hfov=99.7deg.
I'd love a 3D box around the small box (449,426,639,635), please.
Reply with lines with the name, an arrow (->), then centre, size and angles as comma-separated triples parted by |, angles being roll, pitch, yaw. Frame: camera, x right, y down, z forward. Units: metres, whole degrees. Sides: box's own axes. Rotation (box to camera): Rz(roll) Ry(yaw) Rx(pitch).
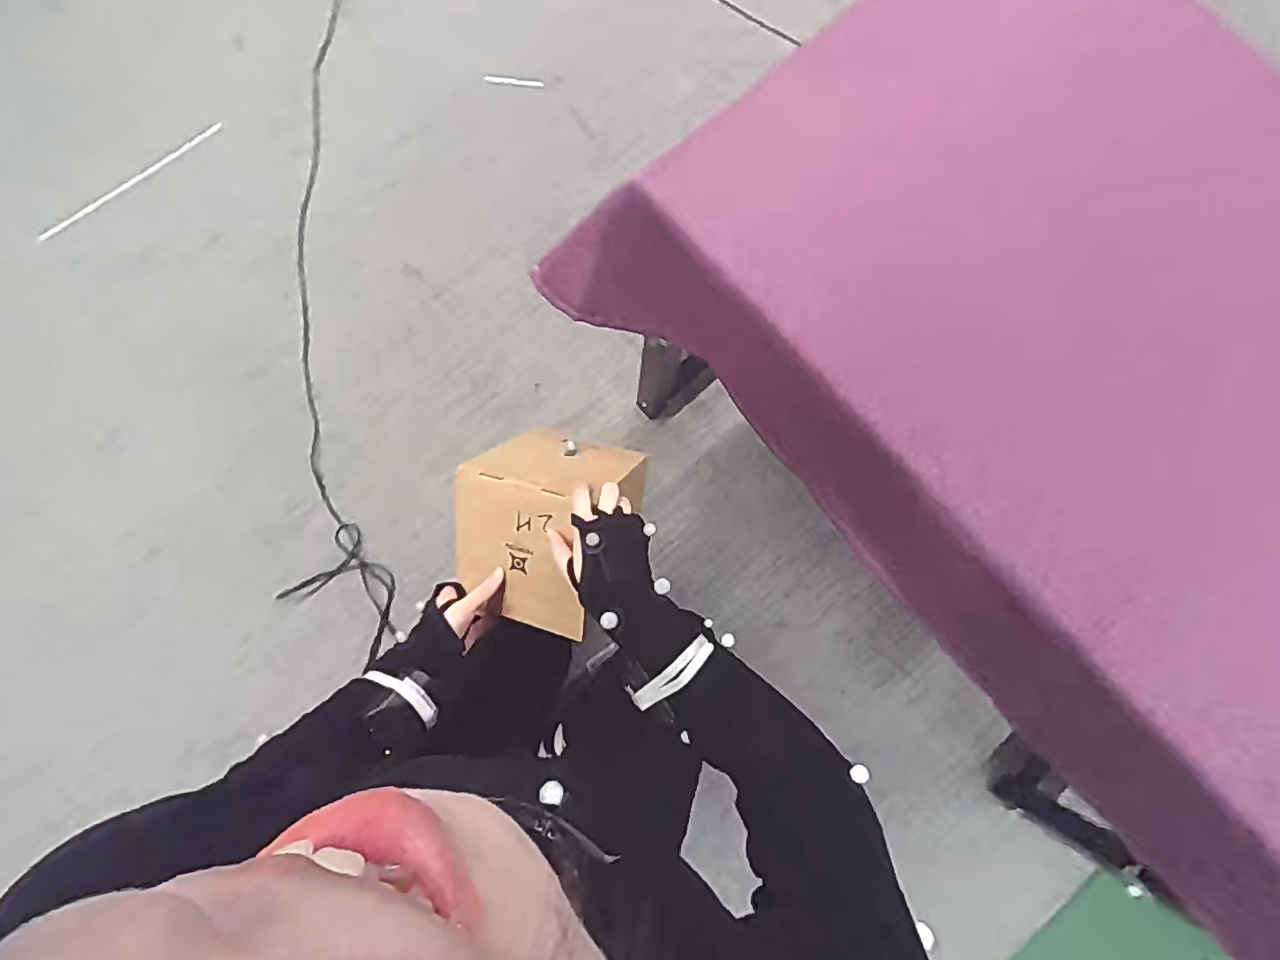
small box -> -0.107, 0.050, 0.658 | 0.168, 0.176, 0.179 | 12, 114, 16
